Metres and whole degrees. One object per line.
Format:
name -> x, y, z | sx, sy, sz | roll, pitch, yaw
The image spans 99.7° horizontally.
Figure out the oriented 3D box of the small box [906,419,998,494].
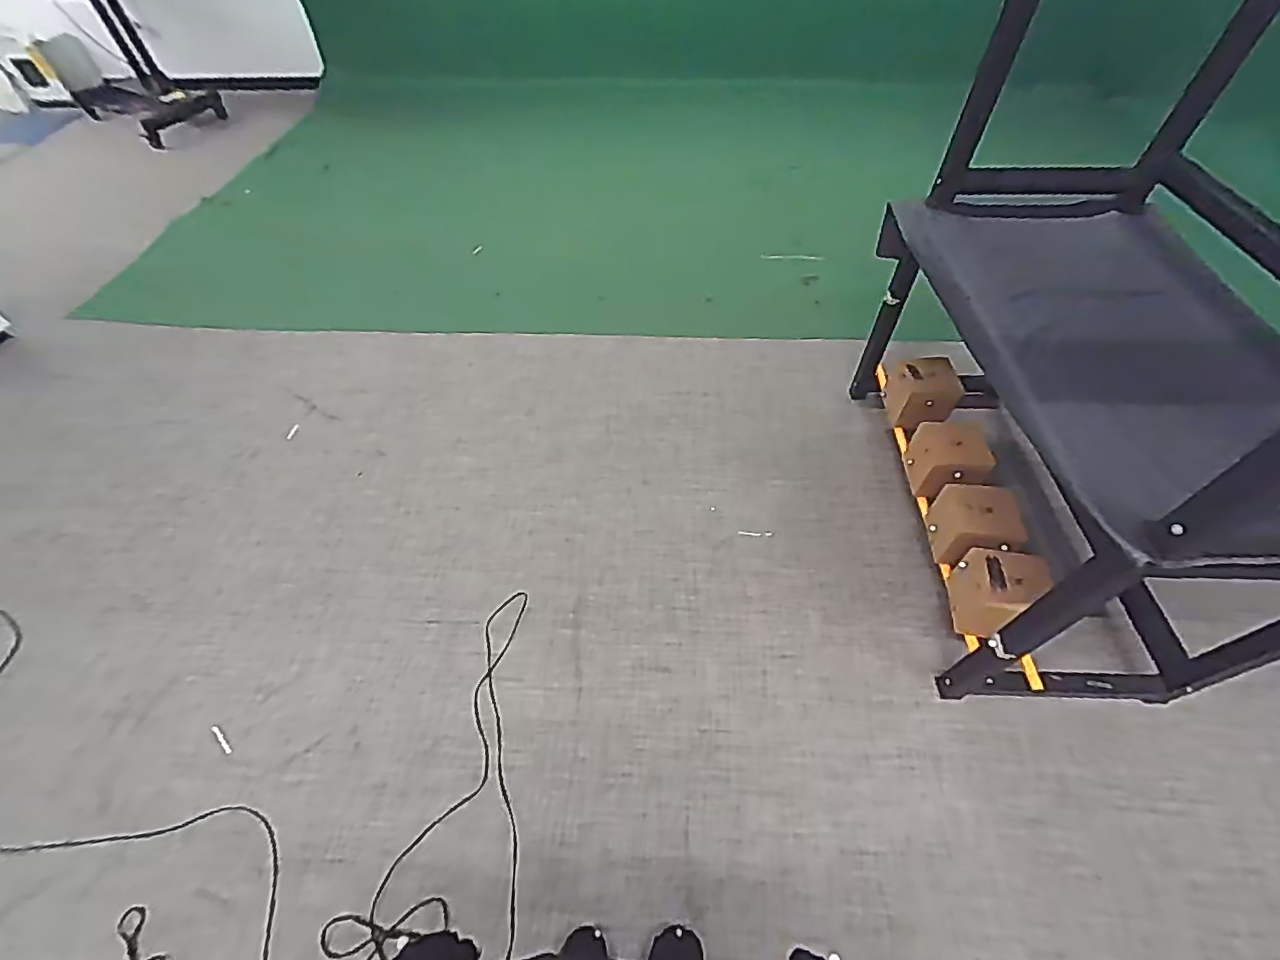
small box -> 0.944, -0.069, 1.653 | 0.179, 0.176, 0.168 | 1, 53, 5
